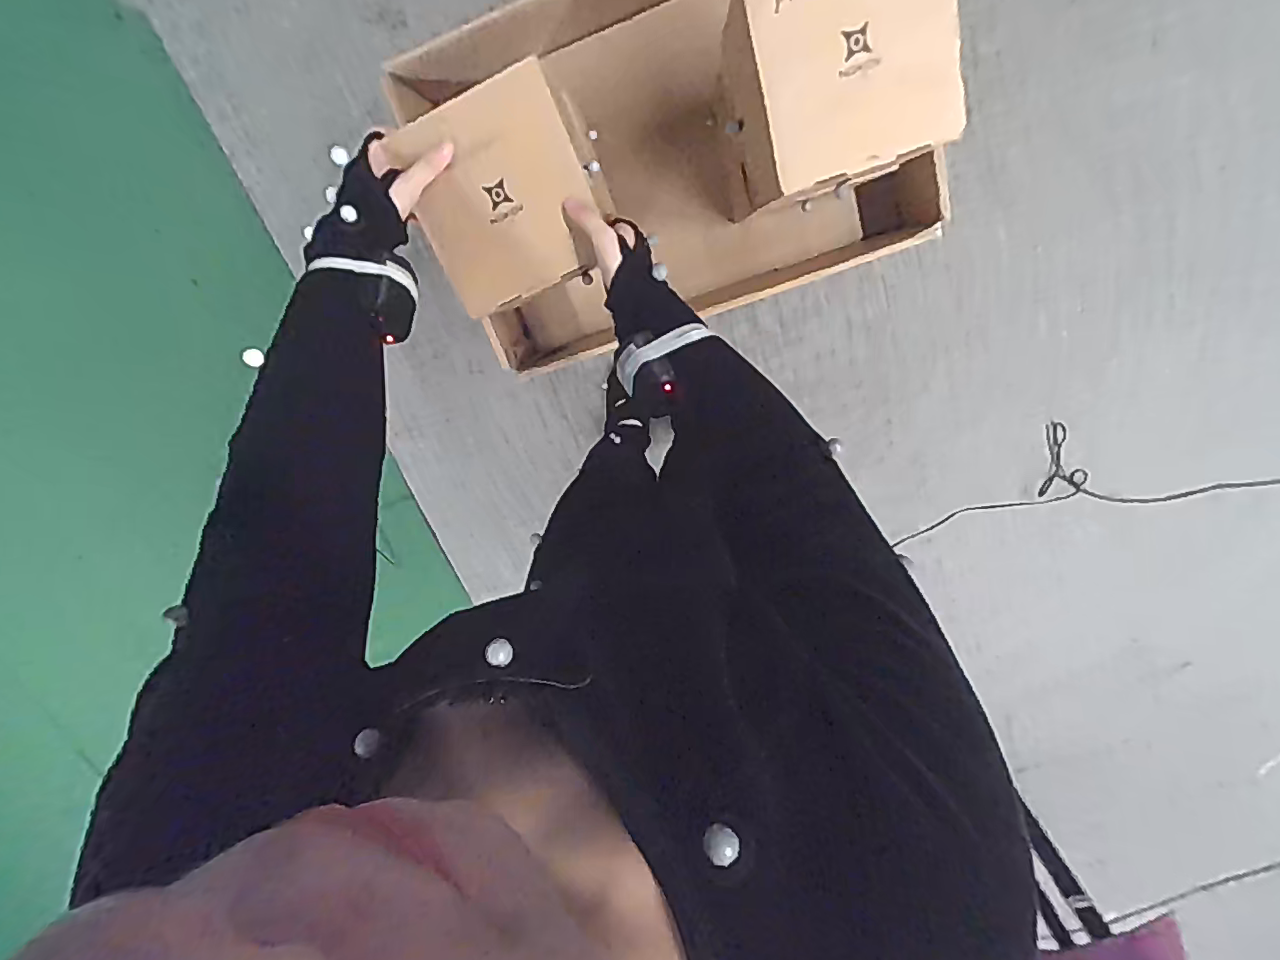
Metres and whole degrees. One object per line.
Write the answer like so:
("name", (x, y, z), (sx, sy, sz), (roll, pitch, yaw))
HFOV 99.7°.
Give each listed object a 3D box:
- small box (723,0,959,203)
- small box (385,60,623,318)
("small box", (0.184, -0.388, 0.531), (0.168, 0.176, 0.179), (-14, 111, 8))
("small box", (-0.126, -0.297, 0.586), (0.168, 0.176, 0.179), (-20, 109, 11))
